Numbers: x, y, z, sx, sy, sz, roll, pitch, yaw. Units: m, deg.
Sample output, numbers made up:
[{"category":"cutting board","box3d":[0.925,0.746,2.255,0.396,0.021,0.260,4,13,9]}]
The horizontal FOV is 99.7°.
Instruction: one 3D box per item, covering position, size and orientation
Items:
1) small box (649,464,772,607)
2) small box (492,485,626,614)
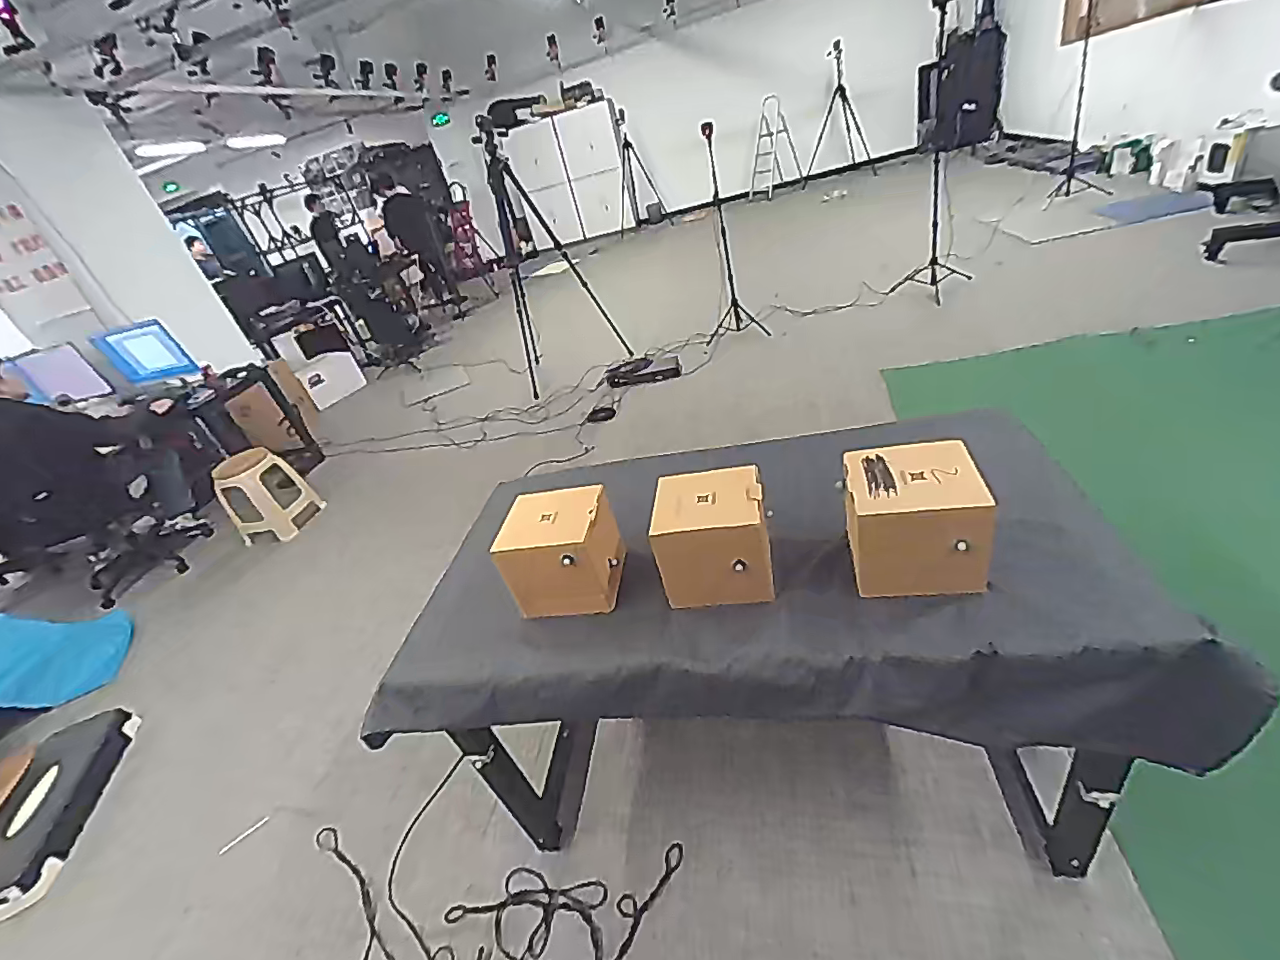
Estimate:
[{"category":"small box","box3d":[0.128,0.097,0.927,0.179,0.176,0.168,-9,31,15]},{"category":"small box","box3d":[-0.140,0.132,1.002,0.179,0.176,0.168,-8,33,14]}]
